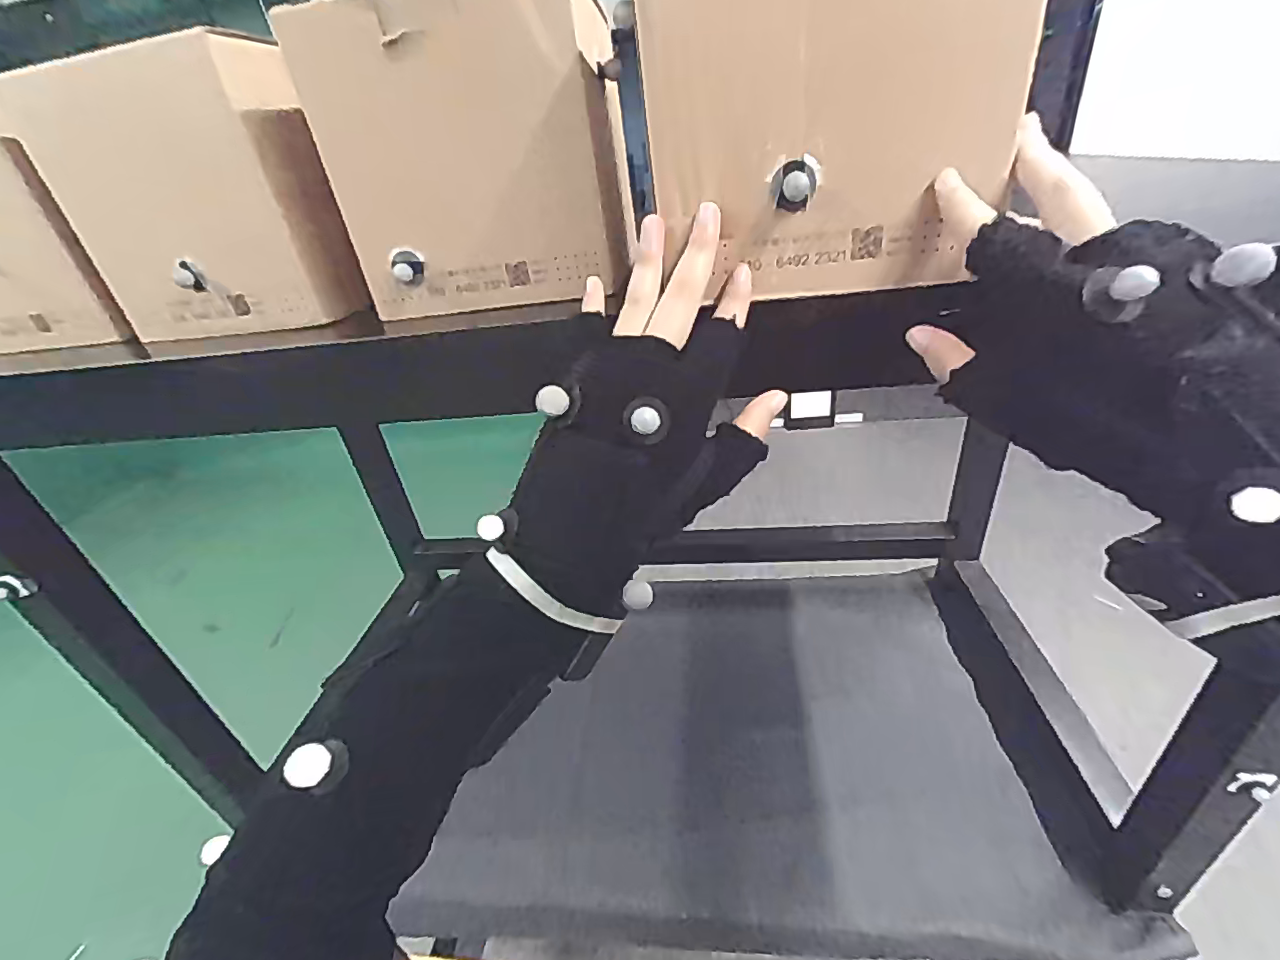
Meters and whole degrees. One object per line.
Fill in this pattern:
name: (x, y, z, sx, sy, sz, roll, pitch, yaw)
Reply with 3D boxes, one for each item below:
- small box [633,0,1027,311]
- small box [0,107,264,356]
small box: (0.092, -0.207, 0.320, 0.168, 0.176, 0.179, -2, 31, 11)
small box: (-0.489, -0.213, 0.480, 0.168, 0.176, 0.179, -2, 30, 9)
